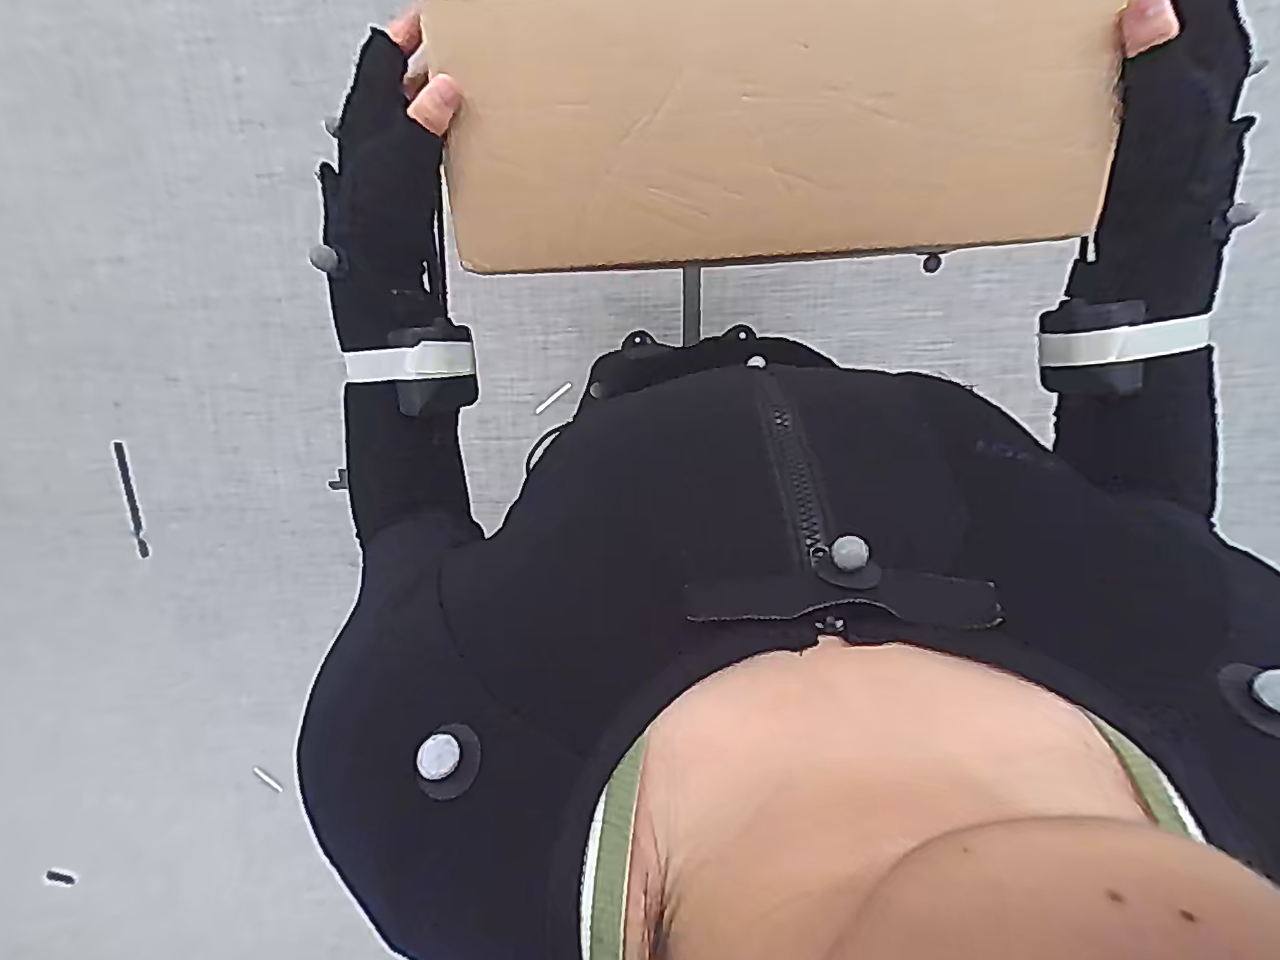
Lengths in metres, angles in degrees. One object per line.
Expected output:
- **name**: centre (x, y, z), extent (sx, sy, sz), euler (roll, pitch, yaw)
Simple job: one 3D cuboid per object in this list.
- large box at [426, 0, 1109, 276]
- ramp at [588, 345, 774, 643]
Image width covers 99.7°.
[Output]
- **large box**: centre (0.075, -0.348, 0.445), extent (0.408, 0.320, 0.320), euler (-3, 111, 1)
- **ramp**: centre (0.124, 0.102, 1.628), extent (0.509, 0.206, 0.991), euler (-3, 106, 2)
